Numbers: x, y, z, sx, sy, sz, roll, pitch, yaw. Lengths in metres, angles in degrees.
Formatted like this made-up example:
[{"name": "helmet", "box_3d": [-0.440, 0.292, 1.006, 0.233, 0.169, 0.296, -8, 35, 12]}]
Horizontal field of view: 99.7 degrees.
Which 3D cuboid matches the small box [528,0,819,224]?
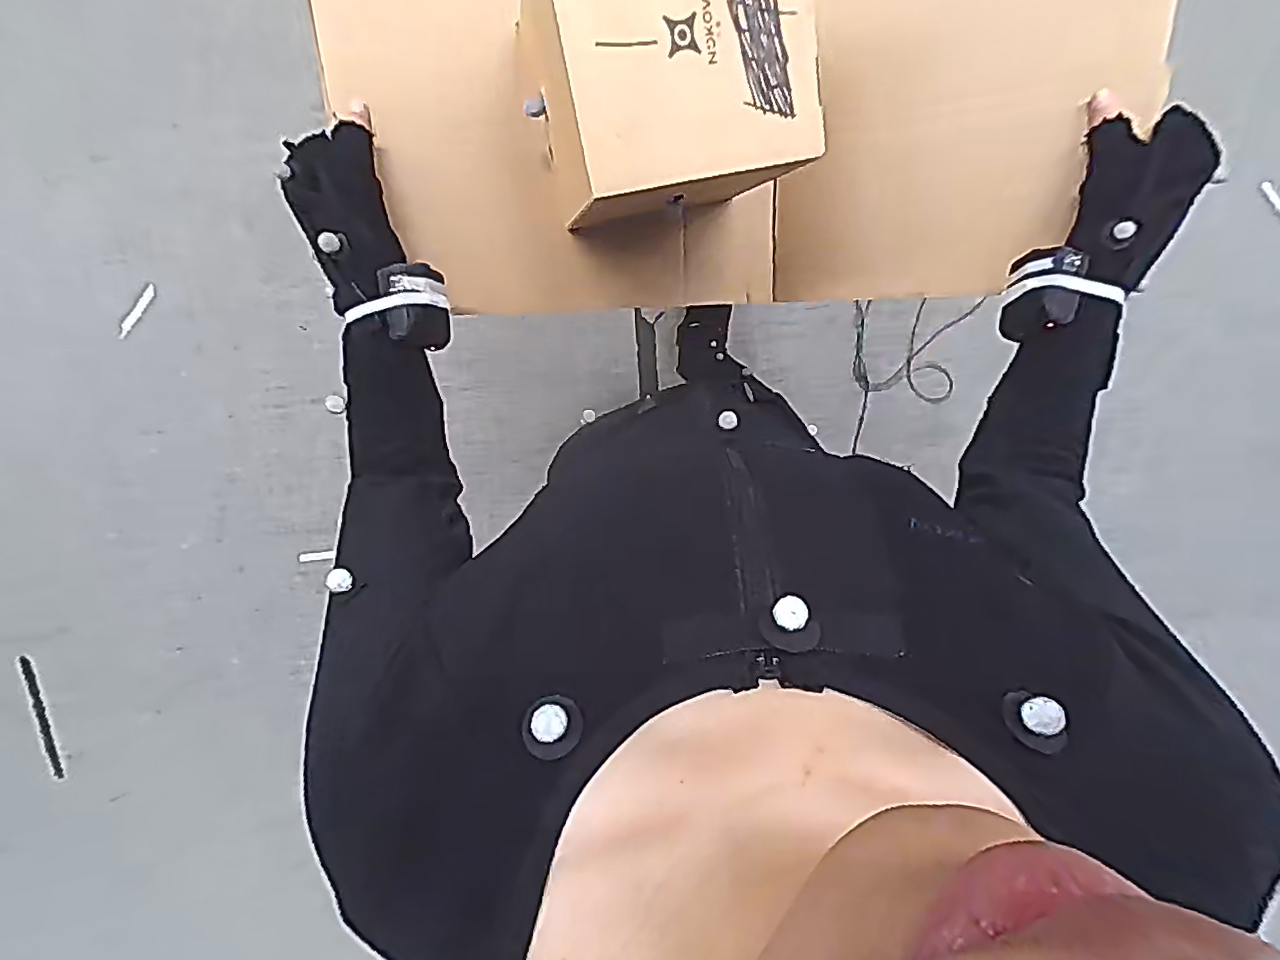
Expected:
[{"name": "small box", "box_3d": [0.017, -0.316, 0.432, 0.179, 0.176, 0.168, -15, 110, -9]}]
